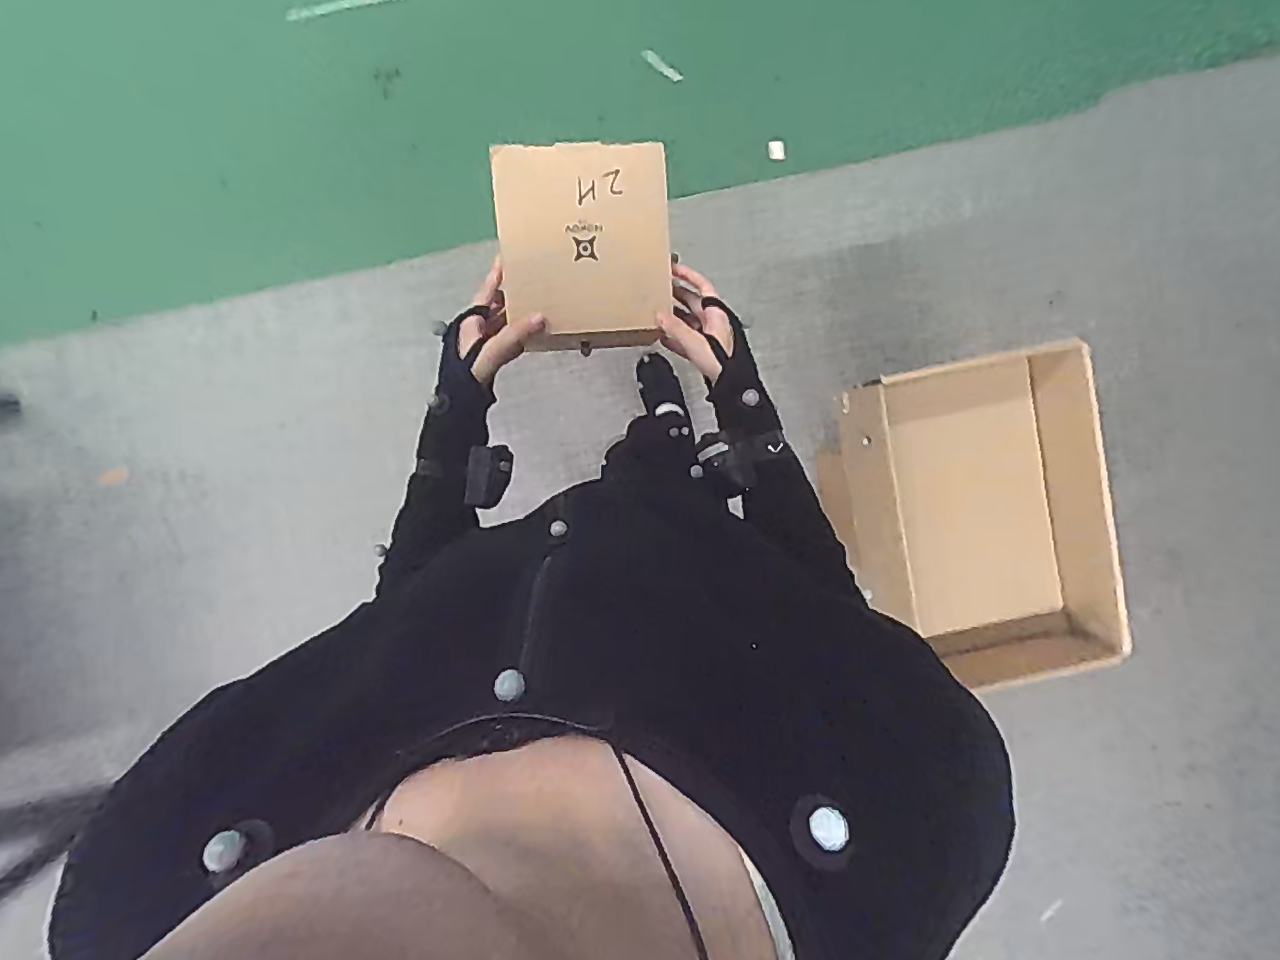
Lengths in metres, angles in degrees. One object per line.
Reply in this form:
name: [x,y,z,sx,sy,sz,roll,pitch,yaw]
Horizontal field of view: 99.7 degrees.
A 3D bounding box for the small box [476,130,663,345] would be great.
small box: [-0.070,-0.245,0.587,0.168,0.176,0.179,-6,97,-6]
